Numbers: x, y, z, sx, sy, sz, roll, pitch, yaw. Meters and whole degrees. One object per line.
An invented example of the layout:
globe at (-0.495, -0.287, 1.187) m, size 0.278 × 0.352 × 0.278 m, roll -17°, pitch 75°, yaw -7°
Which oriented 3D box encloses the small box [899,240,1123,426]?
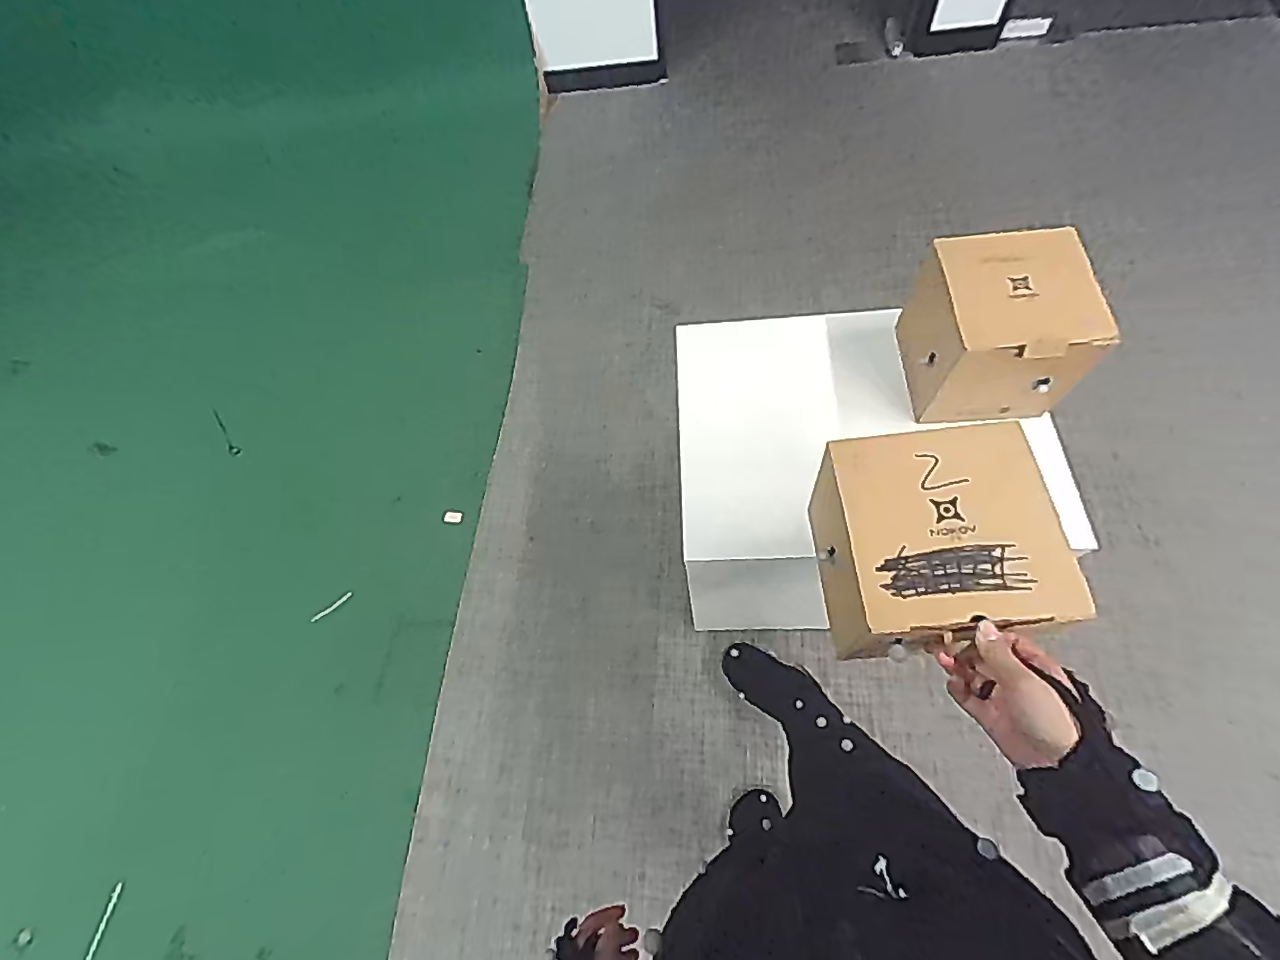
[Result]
small box at (0.461, -0.180, 0.709) m, size 0.168 × 0.176 × 0.179 m, roll -2°, pitch 64°, yaw 6°
